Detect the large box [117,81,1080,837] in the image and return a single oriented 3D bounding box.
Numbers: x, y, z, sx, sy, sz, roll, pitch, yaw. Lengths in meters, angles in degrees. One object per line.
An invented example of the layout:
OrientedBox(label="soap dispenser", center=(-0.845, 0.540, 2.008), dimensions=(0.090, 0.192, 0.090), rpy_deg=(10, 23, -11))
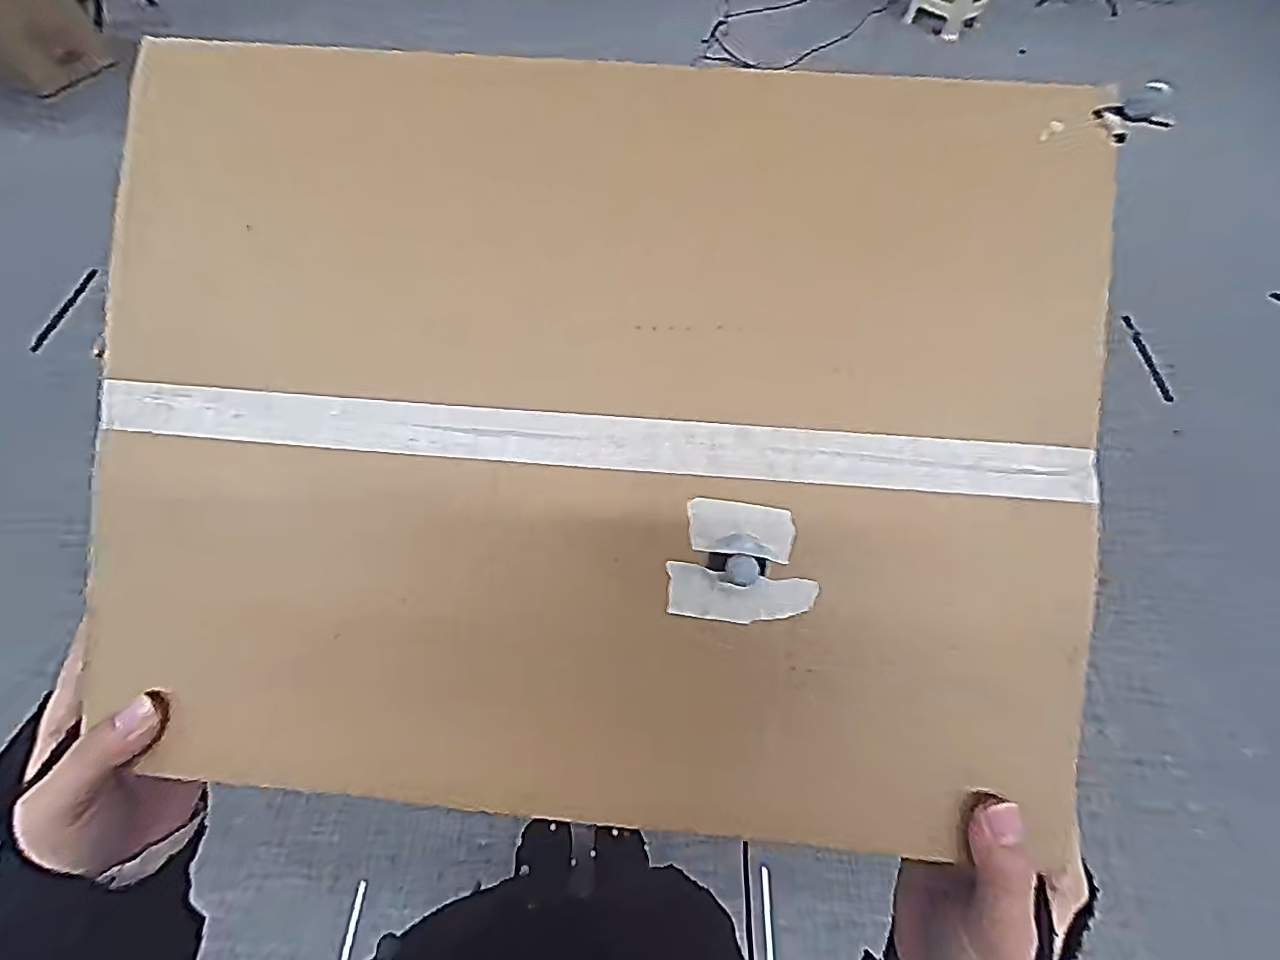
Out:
OrientedBox(label="large box", center=(-0.017, -0.011, 0.381), dimensions=(0.408, 0.320, 0.320), rpy_deg=(4, 90, 1))
